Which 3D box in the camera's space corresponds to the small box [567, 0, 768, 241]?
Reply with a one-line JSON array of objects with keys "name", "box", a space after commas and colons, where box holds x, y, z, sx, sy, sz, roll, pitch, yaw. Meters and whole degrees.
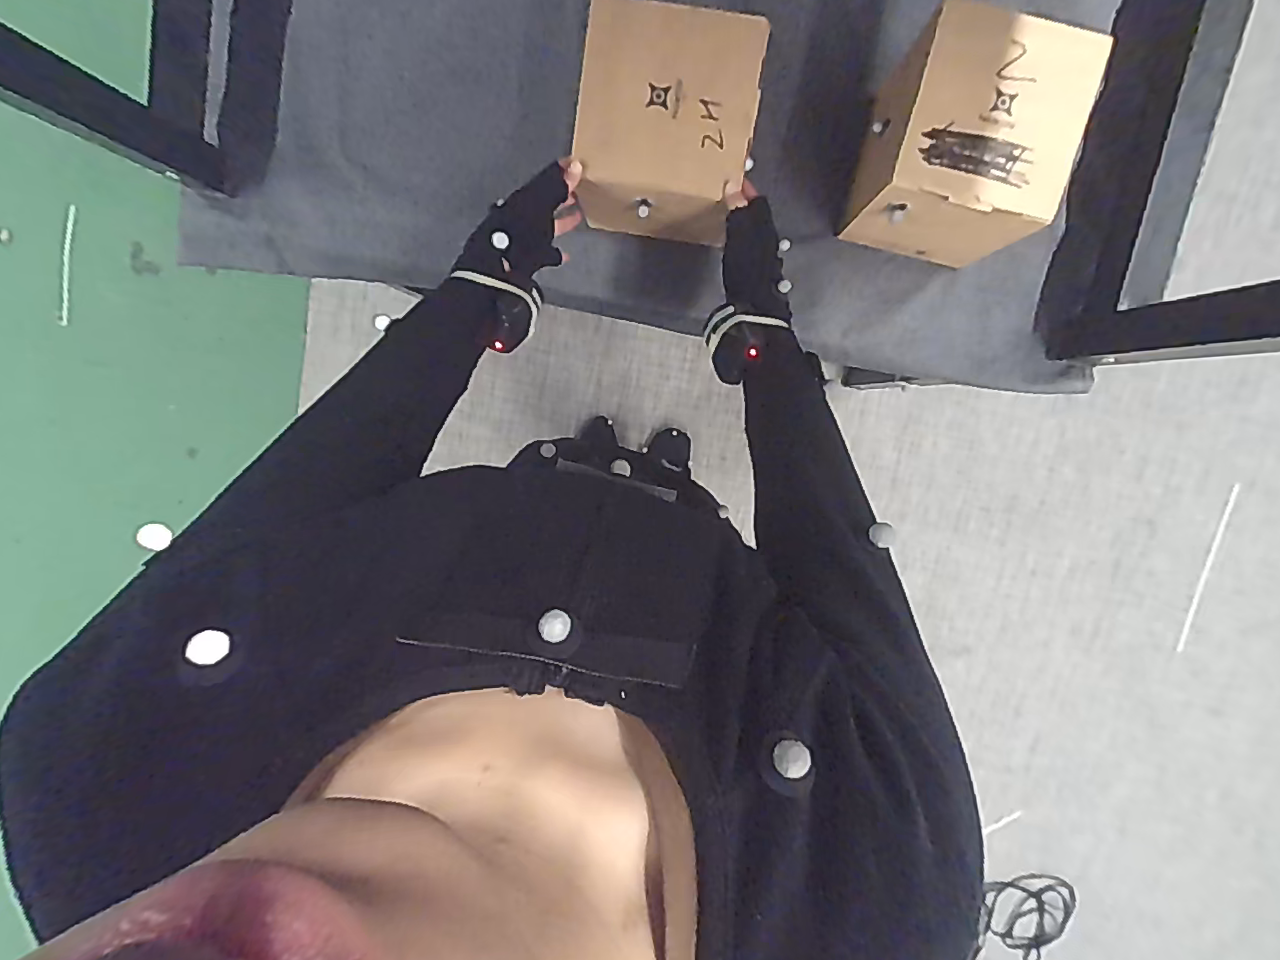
[{"name": "small box", "box": [0.027, -0.385, 0.609, 0.179, 0.176, 0.168, 10, 100, 0]}]
